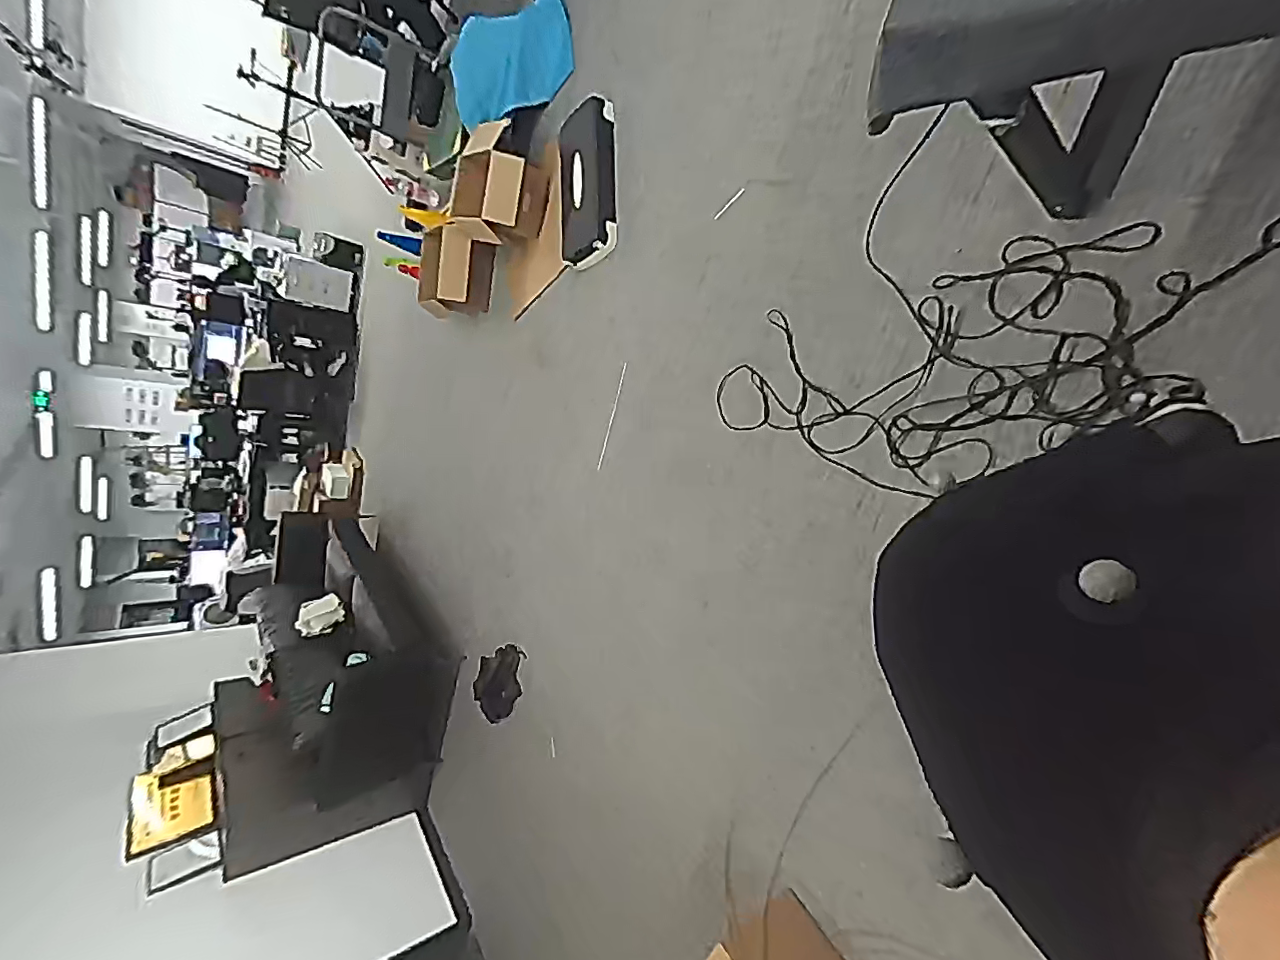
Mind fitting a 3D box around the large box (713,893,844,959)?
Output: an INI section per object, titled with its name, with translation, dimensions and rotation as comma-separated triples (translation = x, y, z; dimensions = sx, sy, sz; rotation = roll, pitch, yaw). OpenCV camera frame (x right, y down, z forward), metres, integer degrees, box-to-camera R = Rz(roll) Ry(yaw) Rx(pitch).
[large box]
translation = 0.391, 1.411, 1.389
dimensions = 0.408, 0.320, 0.320
rotation = 42, 118, 43
